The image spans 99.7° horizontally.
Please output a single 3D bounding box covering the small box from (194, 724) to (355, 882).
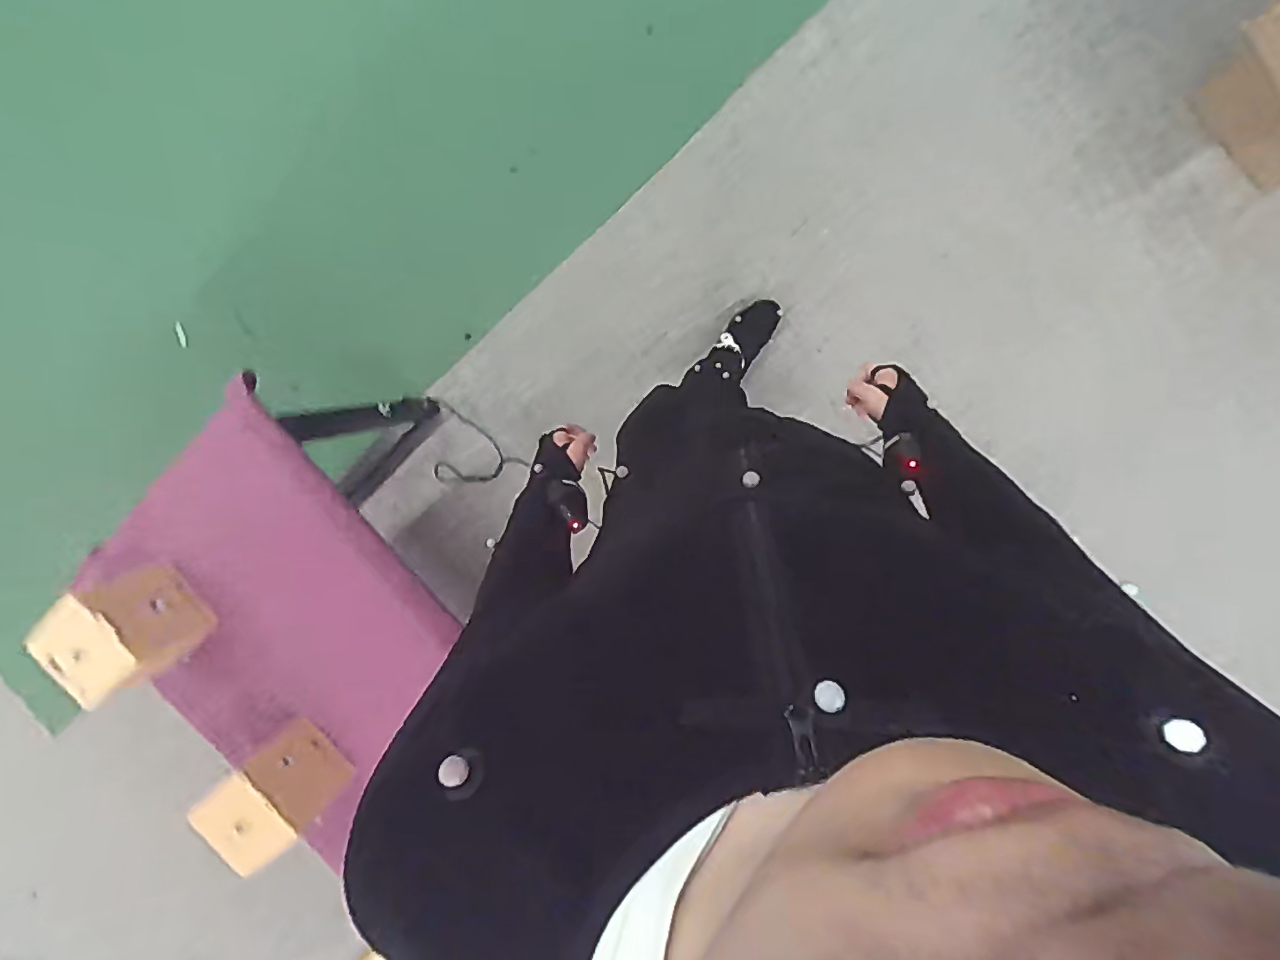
[{"bbox_3d":[-0.702,0.624,1.064,0.179,0.176,0.168,-40,92,14],"label":"small box"}]

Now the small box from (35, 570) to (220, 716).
[{"bbox_3d":[-0.964,0.302,1.038,0.179,0.176,0.168,-39,93,14],"label":"small box"}]
